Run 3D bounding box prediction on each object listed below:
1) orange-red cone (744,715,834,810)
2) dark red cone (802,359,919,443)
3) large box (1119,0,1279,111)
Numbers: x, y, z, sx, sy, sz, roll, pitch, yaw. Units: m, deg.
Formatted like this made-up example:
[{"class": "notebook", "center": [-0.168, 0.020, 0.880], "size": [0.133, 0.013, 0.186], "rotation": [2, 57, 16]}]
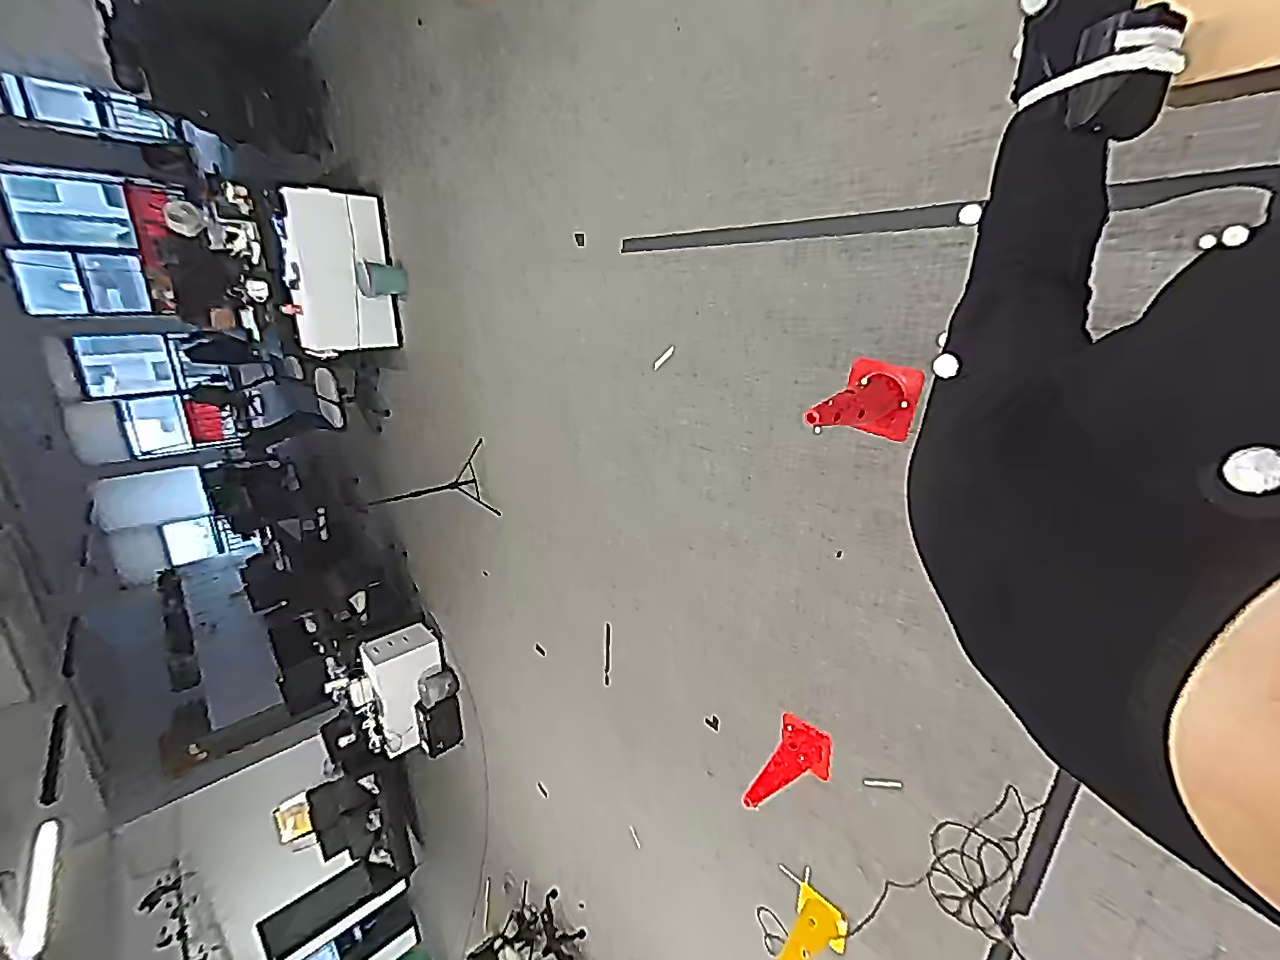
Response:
[{"class": "orange-red cone", "center": [0.486, 1.019, 1.869], "size": [0.198, 0.360, 0.199], "rotation": [18, 117, 46]}, {"class": "dark red cone", "center": [0.528, -0.184, 1.376], "size": [0.201, 0.394, 0.202], "rotation": [26, 122, 40]}, {"class": "large box", "center": [0.562, -0.431, 0.281], "size": [0.408, 0.320, 0.320], "rotation": [17, 125, 45]}]
